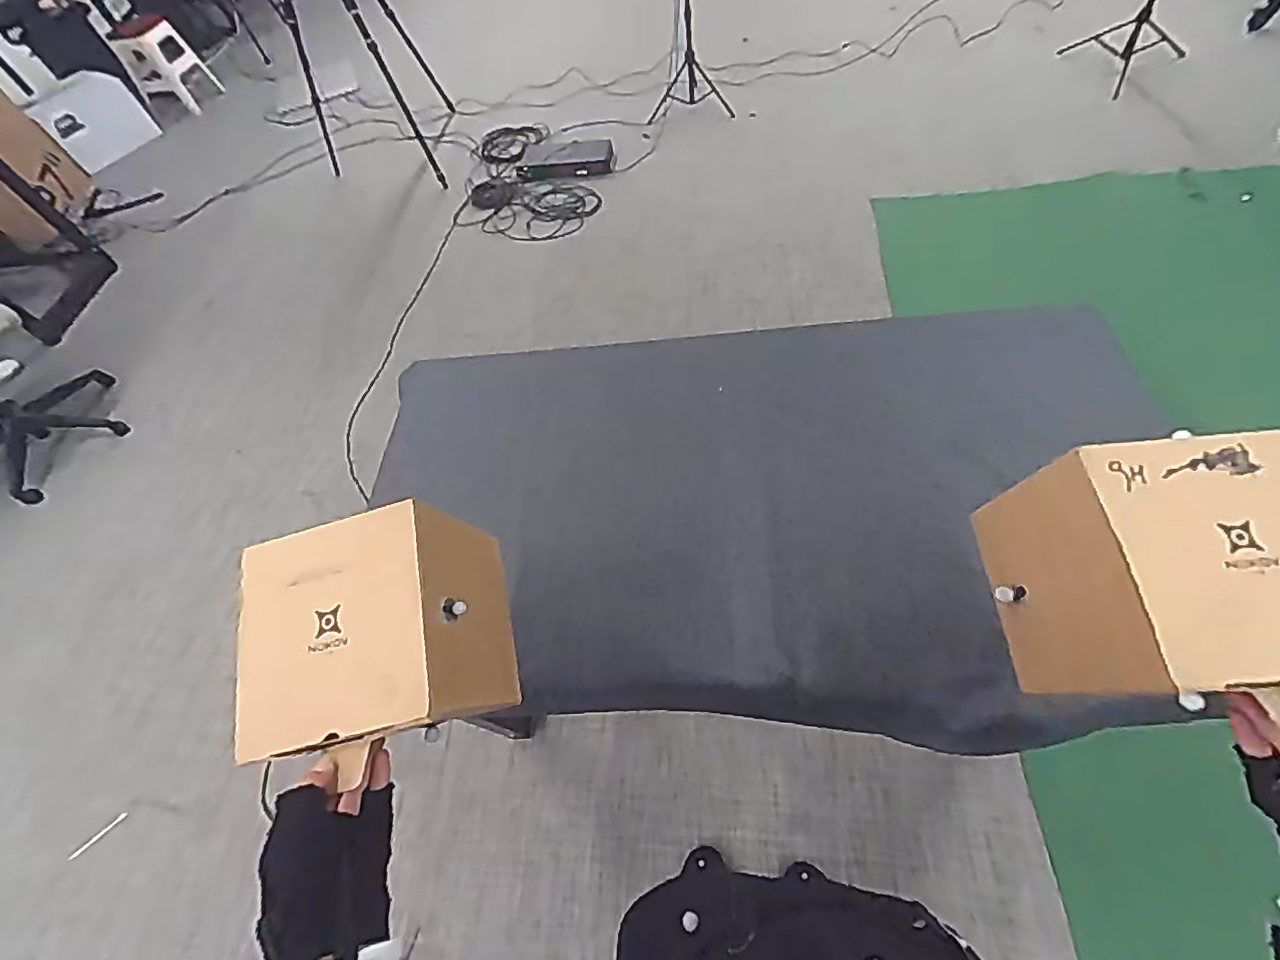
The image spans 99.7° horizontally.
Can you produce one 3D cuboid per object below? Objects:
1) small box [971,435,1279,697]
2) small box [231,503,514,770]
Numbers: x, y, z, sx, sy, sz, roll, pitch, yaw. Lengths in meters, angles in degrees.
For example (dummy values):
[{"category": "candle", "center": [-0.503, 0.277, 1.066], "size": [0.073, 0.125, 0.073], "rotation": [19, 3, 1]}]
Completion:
[{"category": "small box", "center": [0.416, 0.080, 0.448], "size": [0.168, 0.176, 0.179], "rotation": [-4, 69, 2]}, {"category": "small box", "center": [-0.230, 0.142, 0.499], "size": [0.168, 0.176, 0.179], "rotation": [-16, 69, 5]}]
